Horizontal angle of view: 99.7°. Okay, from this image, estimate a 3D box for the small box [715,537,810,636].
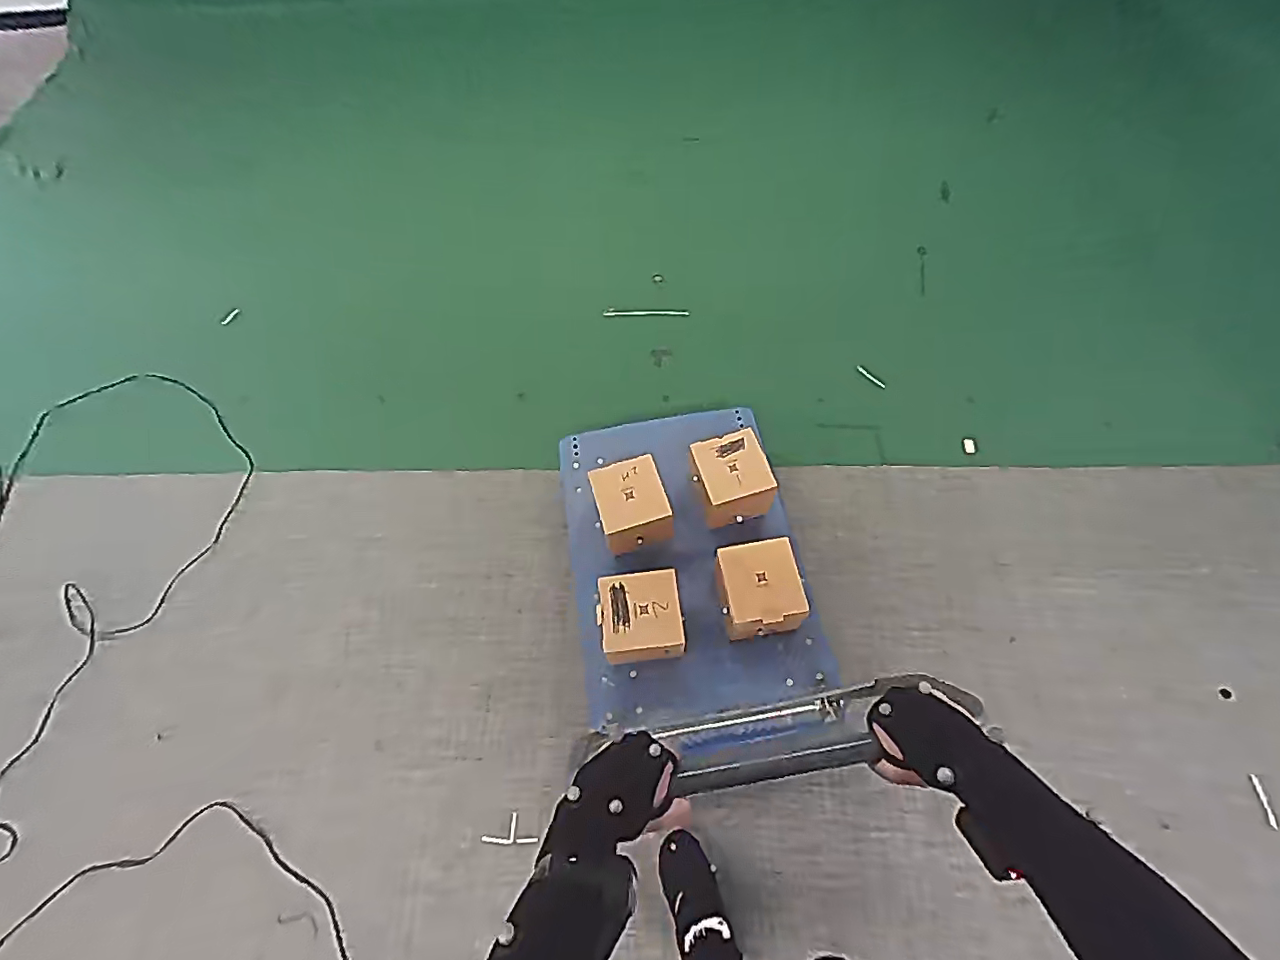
[{"bbox_3d":[0.274,0.251,1.258,0.168,0.176,0.179,-9,64,-1],"label":"small box"}]

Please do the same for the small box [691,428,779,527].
[{"bbox_3d":[0.234,-0.002,1.386,0.168,0.176,0.179,-16,64,-4],"label":"small box"}]

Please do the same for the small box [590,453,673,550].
[{"bbox_3d":[-0.018,0.063,1.367,0.168,0.176,0.179,-16,64,-6],"label":"small box"}]
